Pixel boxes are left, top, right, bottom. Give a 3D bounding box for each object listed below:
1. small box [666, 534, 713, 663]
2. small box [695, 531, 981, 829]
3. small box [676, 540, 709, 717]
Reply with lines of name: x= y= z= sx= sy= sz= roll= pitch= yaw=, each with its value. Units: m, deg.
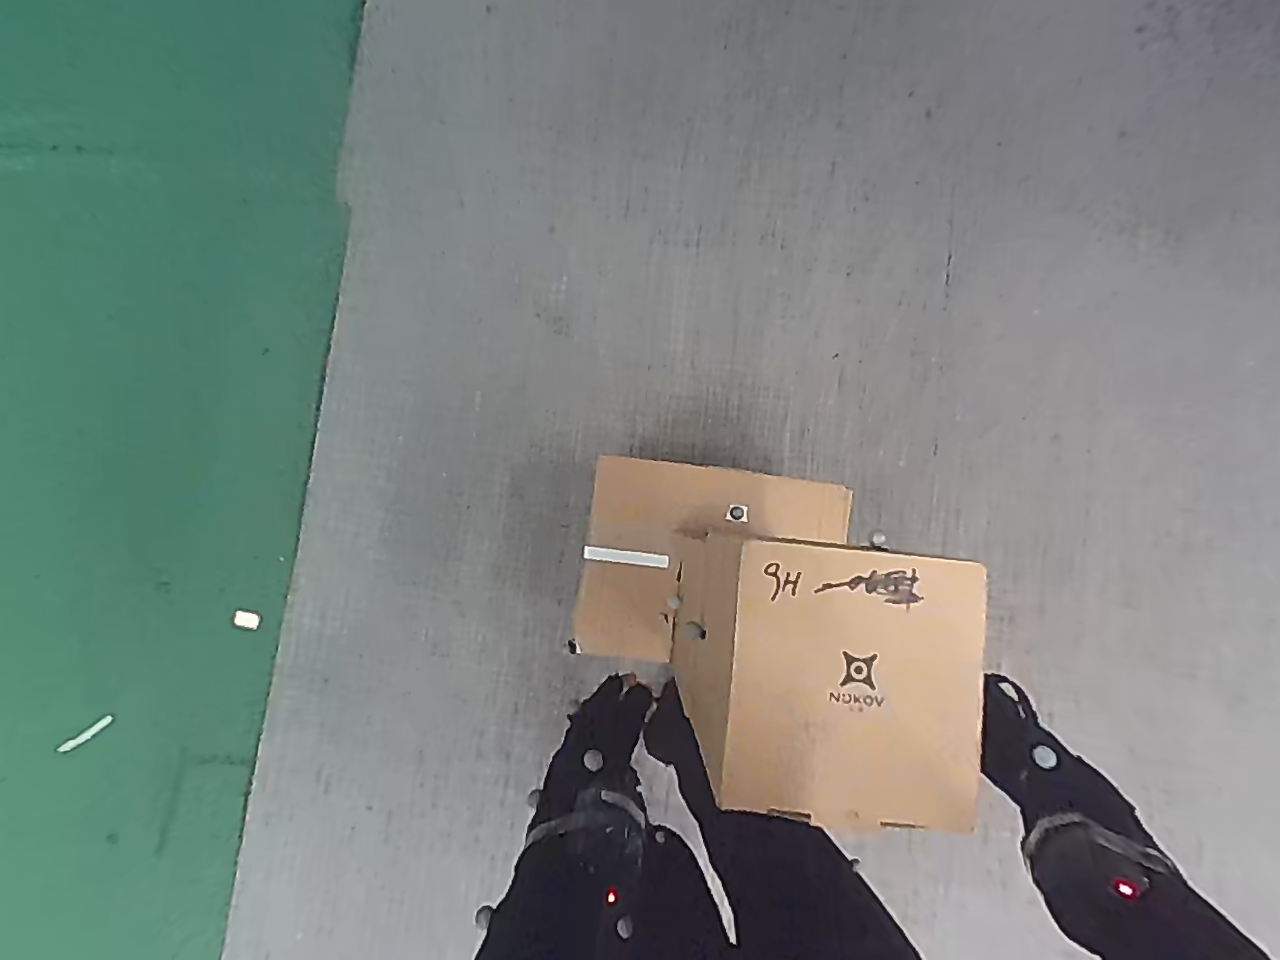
small box: x=0.132 y=0.165 z=0.760 sx=0.179 sy=0.176 sz=0.168 roll=5 pitch=86 yaw=-1
small box: x=0.137 y=0.138 z=0.434 sx=0.168 sy=0.176 sz=0.179 roll=5 pitch=87 yaw=0
small box: x=0.138 y=0.157 z=0.597 sx=0.179 sy=0.176 sz=0.168 roll=6 pitch=86 yaw=1
